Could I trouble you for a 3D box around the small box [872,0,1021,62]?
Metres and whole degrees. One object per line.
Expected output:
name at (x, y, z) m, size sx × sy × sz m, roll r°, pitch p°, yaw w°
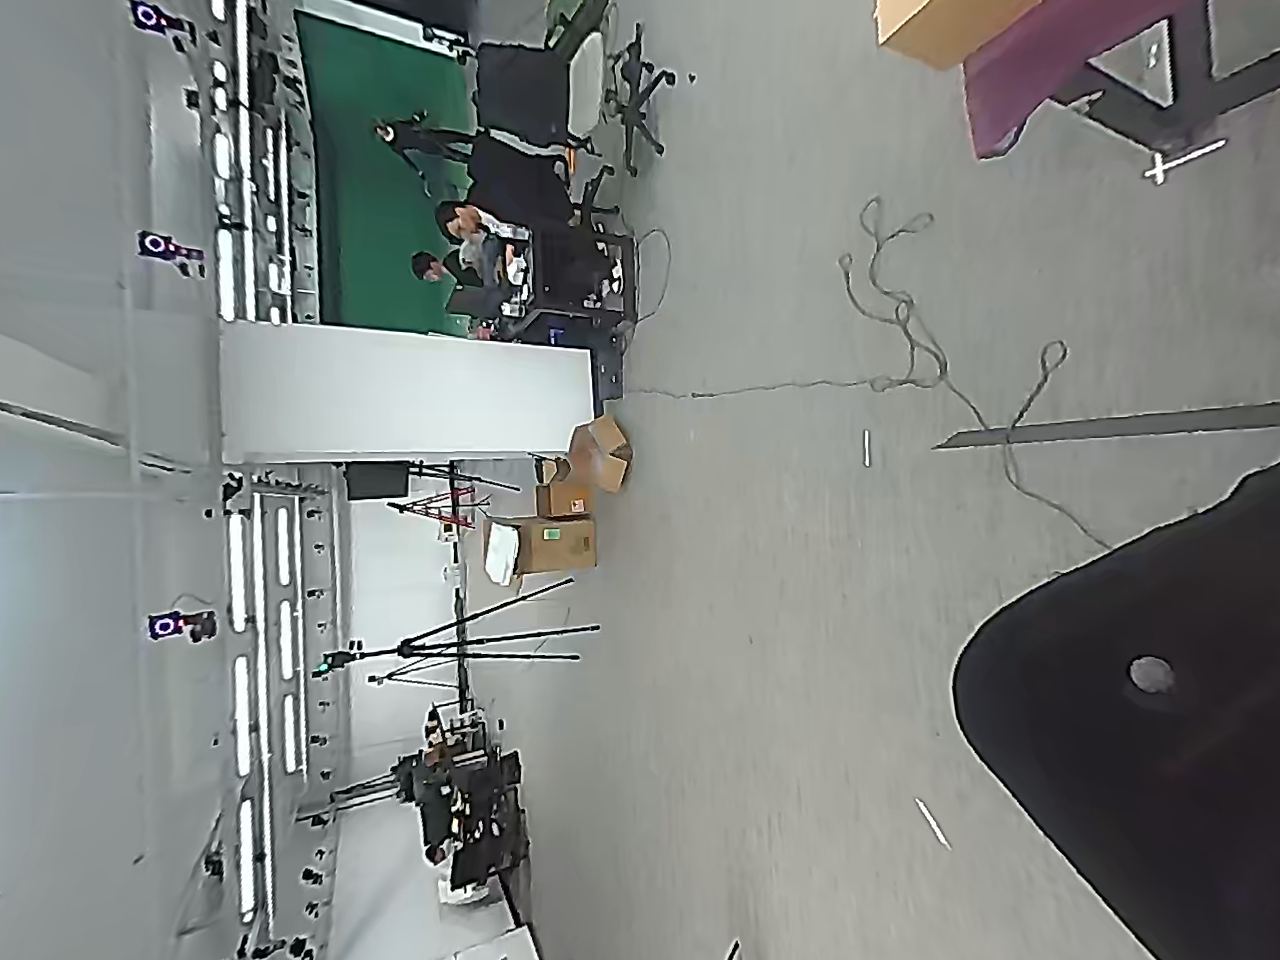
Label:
small box at (0.501, -0.831, 0.872) m, size 0.179 × 0.176 × 0.168 m, roll -5°, pitch 87°, yaw 62°
